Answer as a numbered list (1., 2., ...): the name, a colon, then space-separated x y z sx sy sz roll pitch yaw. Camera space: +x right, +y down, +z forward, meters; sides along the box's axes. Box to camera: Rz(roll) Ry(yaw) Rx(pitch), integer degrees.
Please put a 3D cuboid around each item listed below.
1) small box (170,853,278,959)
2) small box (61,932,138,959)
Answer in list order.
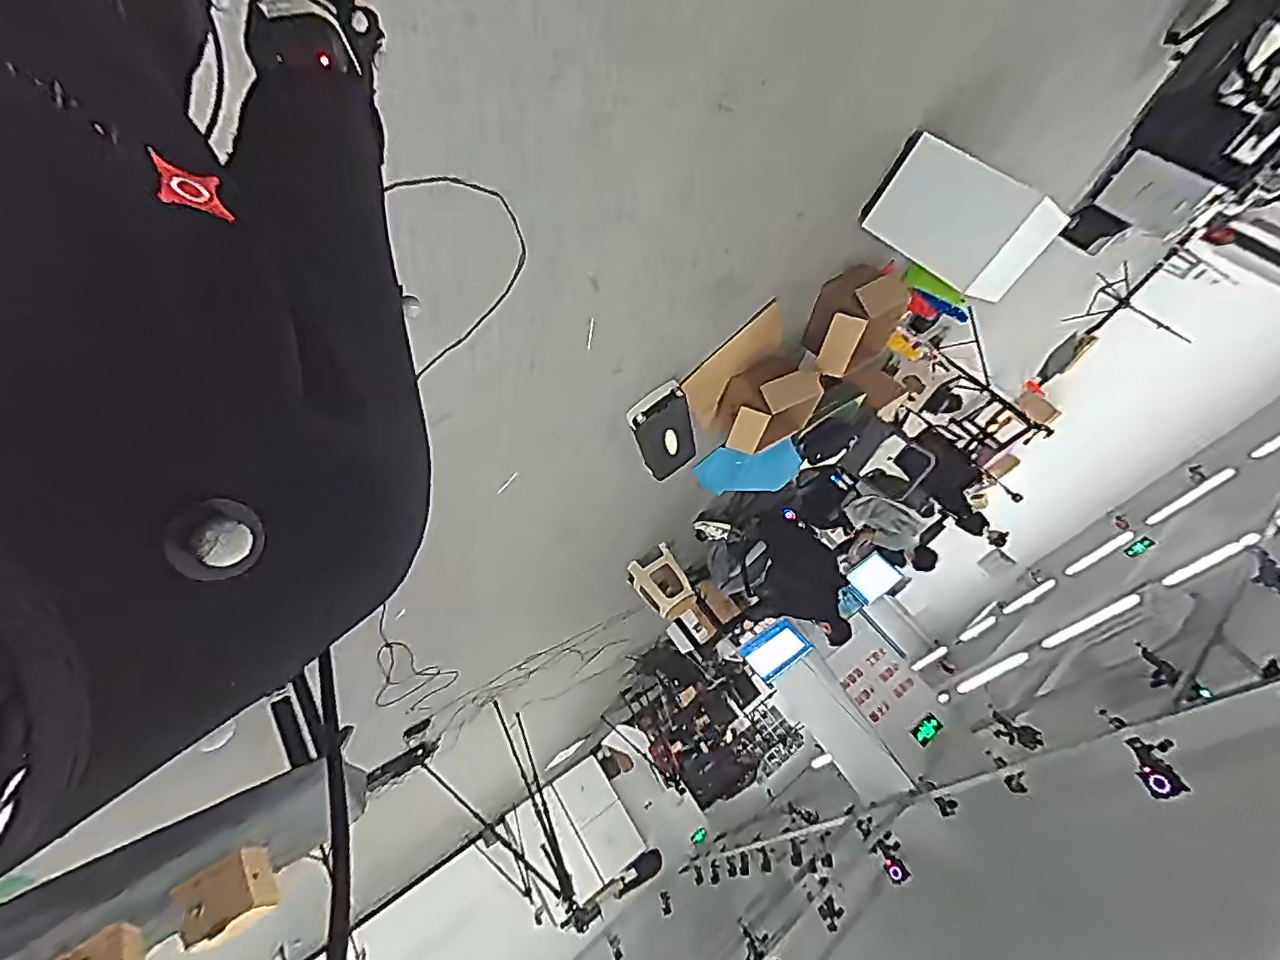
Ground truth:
1. small box: -1.145 1.163 1.490 0.168 0.176 0.179 -27 154 -23
2. small box: -1.384 1.279 1.351 0.168 0.176 0.179 -20 148 -36
